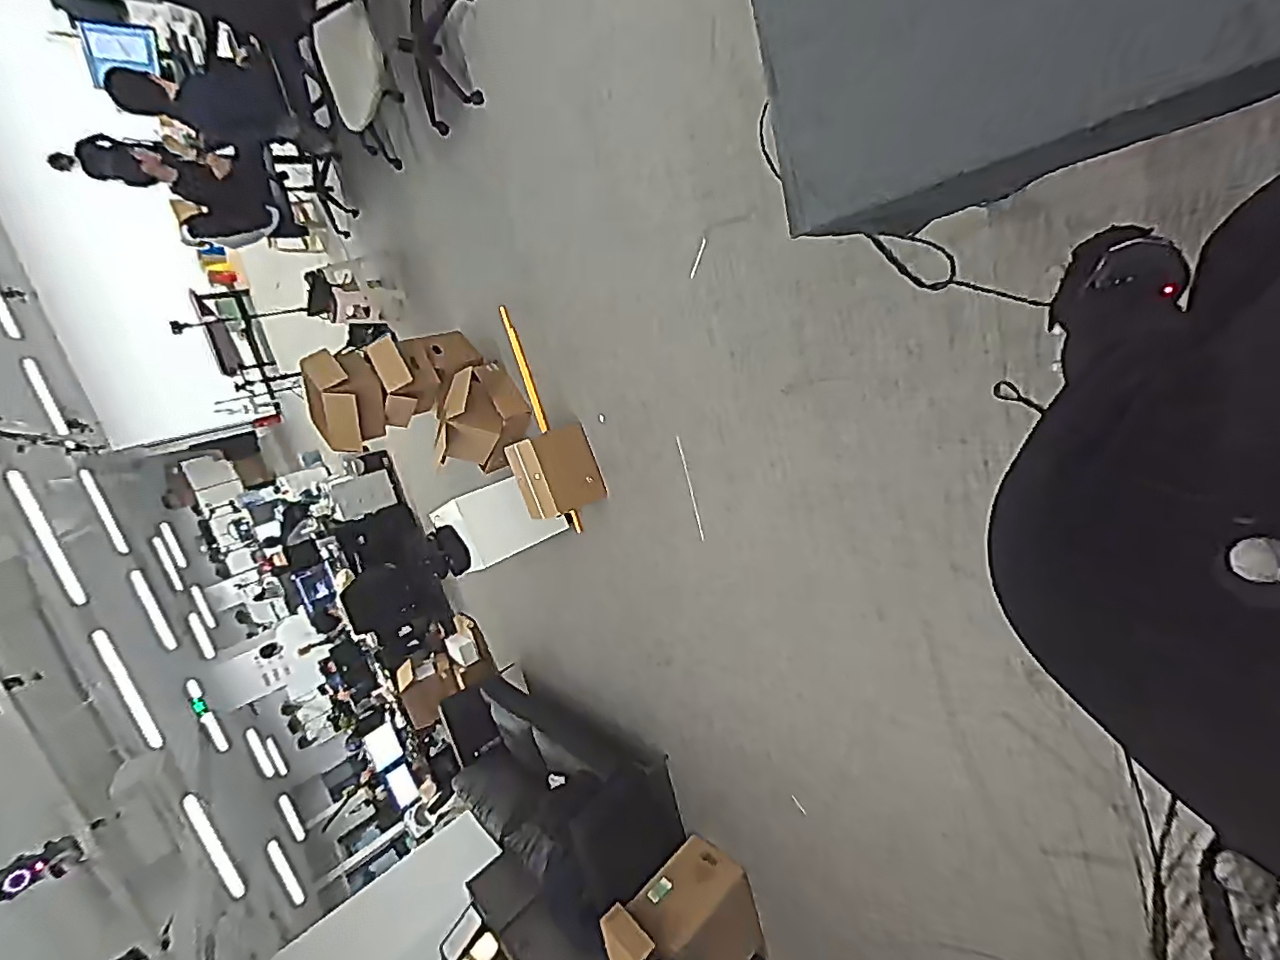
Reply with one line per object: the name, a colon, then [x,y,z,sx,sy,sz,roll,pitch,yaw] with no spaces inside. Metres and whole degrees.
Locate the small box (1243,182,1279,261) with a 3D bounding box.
small box: [1.106,-0.427,0.829,0.168,0.176,0.179,91,155,-47]
